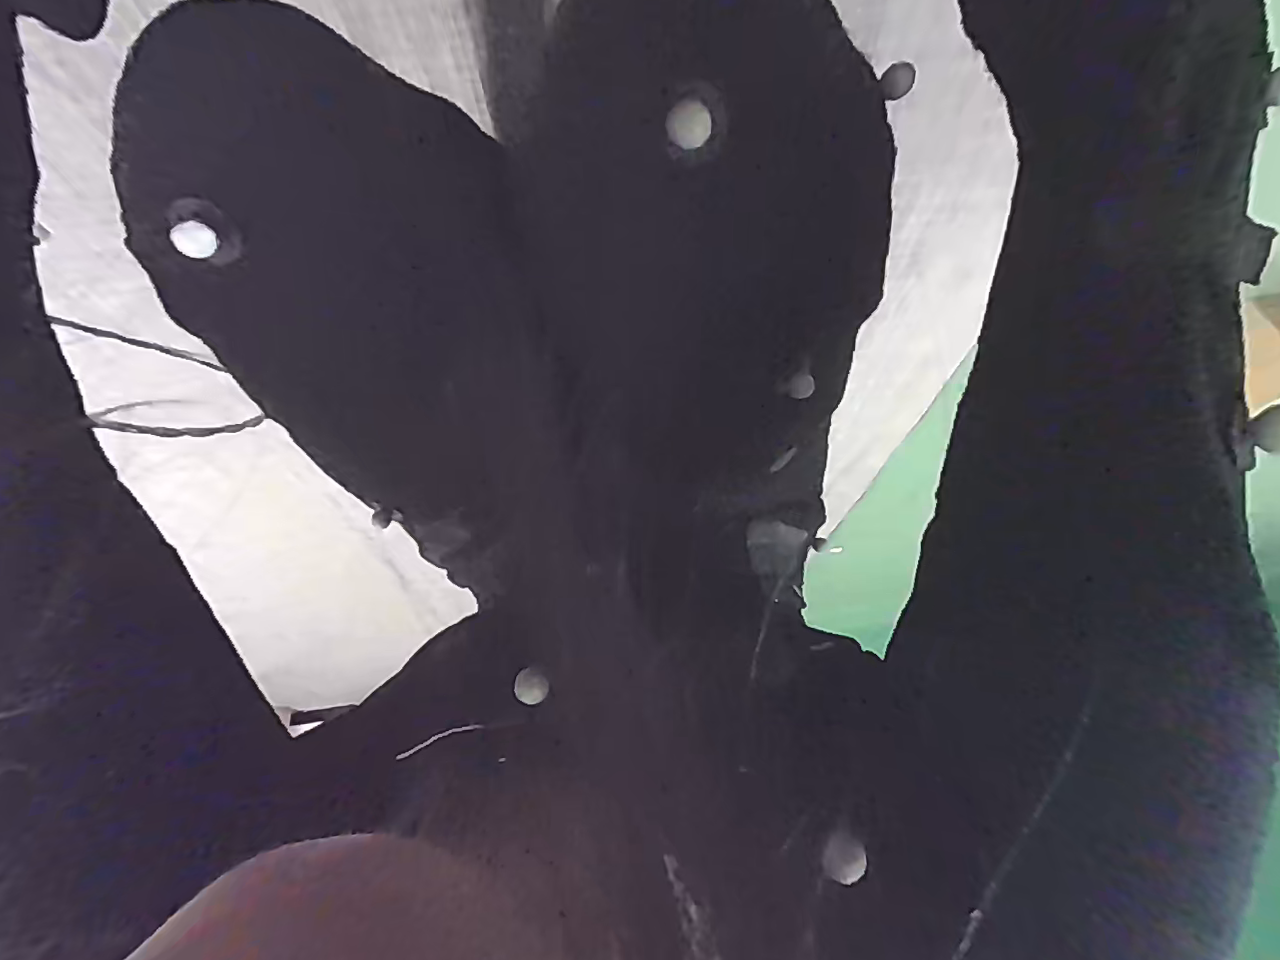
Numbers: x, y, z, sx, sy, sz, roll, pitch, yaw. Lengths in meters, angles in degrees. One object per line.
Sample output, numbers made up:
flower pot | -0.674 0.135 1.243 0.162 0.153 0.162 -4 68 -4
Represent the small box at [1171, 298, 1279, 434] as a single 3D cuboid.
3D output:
small box | 1.105 -0.203 0.938 0.179 0.176 0.168 -8 154 -1
